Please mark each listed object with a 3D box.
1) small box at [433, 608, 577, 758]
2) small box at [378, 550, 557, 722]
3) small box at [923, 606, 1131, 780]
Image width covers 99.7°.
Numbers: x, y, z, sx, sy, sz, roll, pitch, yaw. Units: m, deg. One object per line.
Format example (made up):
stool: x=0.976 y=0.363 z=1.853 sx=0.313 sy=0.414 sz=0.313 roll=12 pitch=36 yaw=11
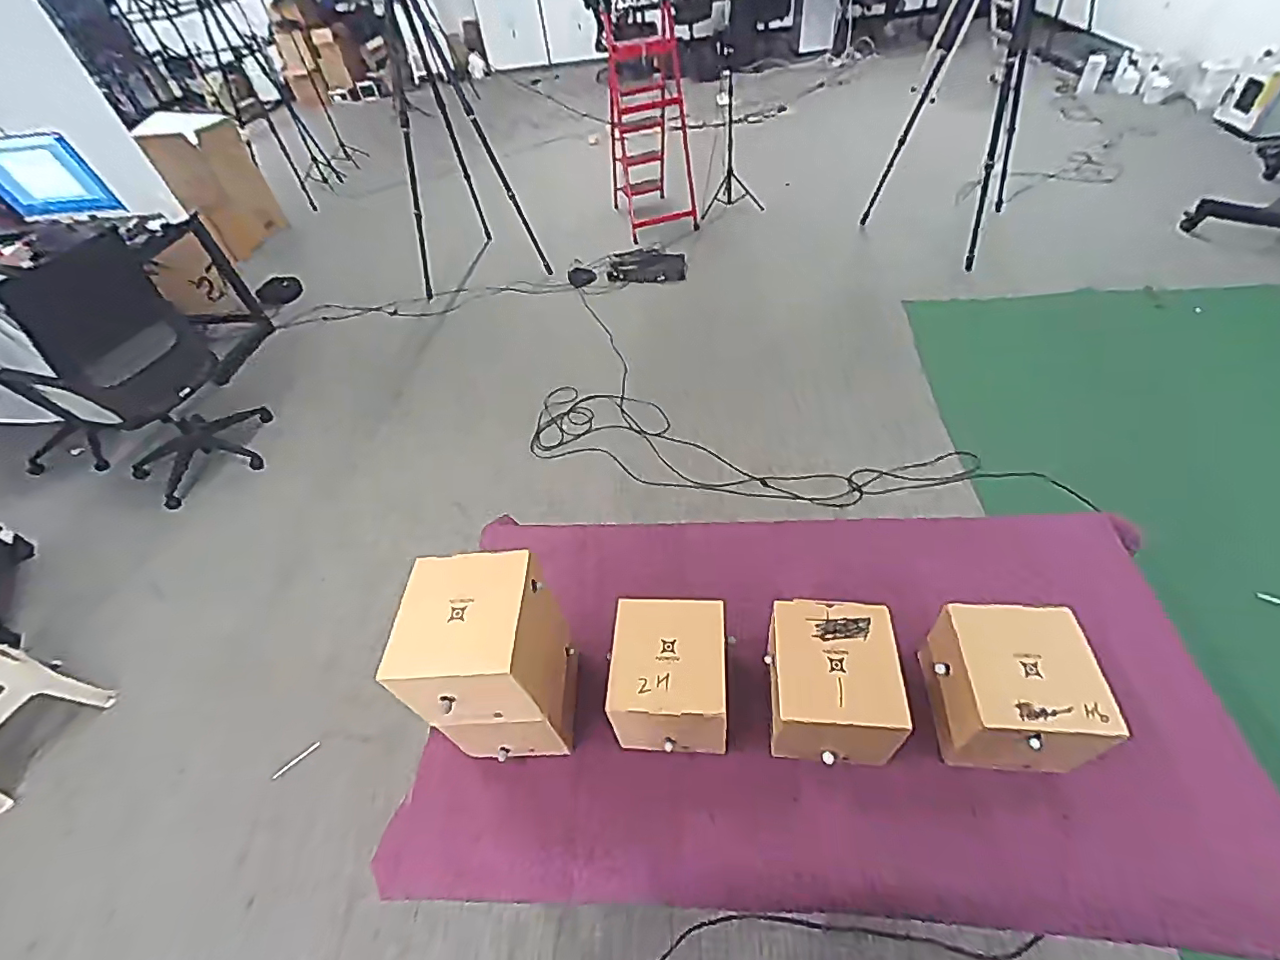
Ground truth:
small box: x=-0.200 y=0.325 z=0.863 sx=0.168 sy=0.176 sz=0.179 roll=-5 pitch=48 yaw=6
small box: x=-0.218 y=0.219 z=0.742 sx=0.168 sy=0.176 sz=0.179 roll=-5 pitch=47 yaw=6
small box: x=0.524 y=0.302 z=0.769 sx=0.168 sy=0.176 sz=0.179 roll=0 pitch=47 yaw=10
